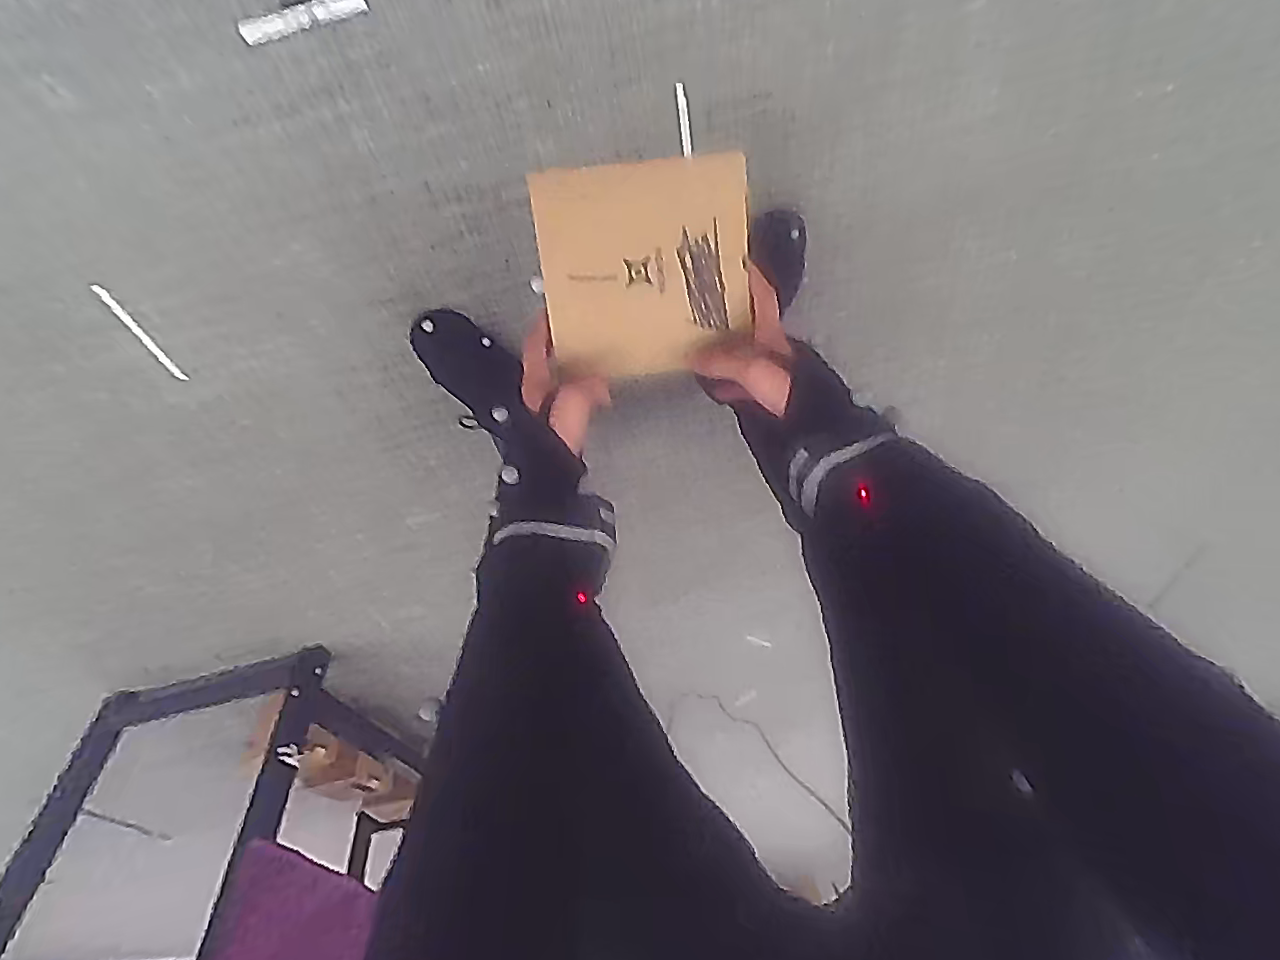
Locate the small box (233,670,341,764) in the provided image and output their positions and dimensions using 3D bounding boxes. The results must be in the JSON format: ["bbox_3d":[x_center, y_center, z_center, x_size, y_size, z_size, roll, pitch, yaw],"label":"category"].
[{"bbox_3d":[-0.941,0.639,1.459,0.179,0.176,0.168,-35,132,22],"label":"small box"}]

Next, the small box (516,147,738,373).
[{"bbox_3d":[-0.014,-0.205,0.524,0.179,0.176,0.168,-7,109,-4],"label":"small box"}]
